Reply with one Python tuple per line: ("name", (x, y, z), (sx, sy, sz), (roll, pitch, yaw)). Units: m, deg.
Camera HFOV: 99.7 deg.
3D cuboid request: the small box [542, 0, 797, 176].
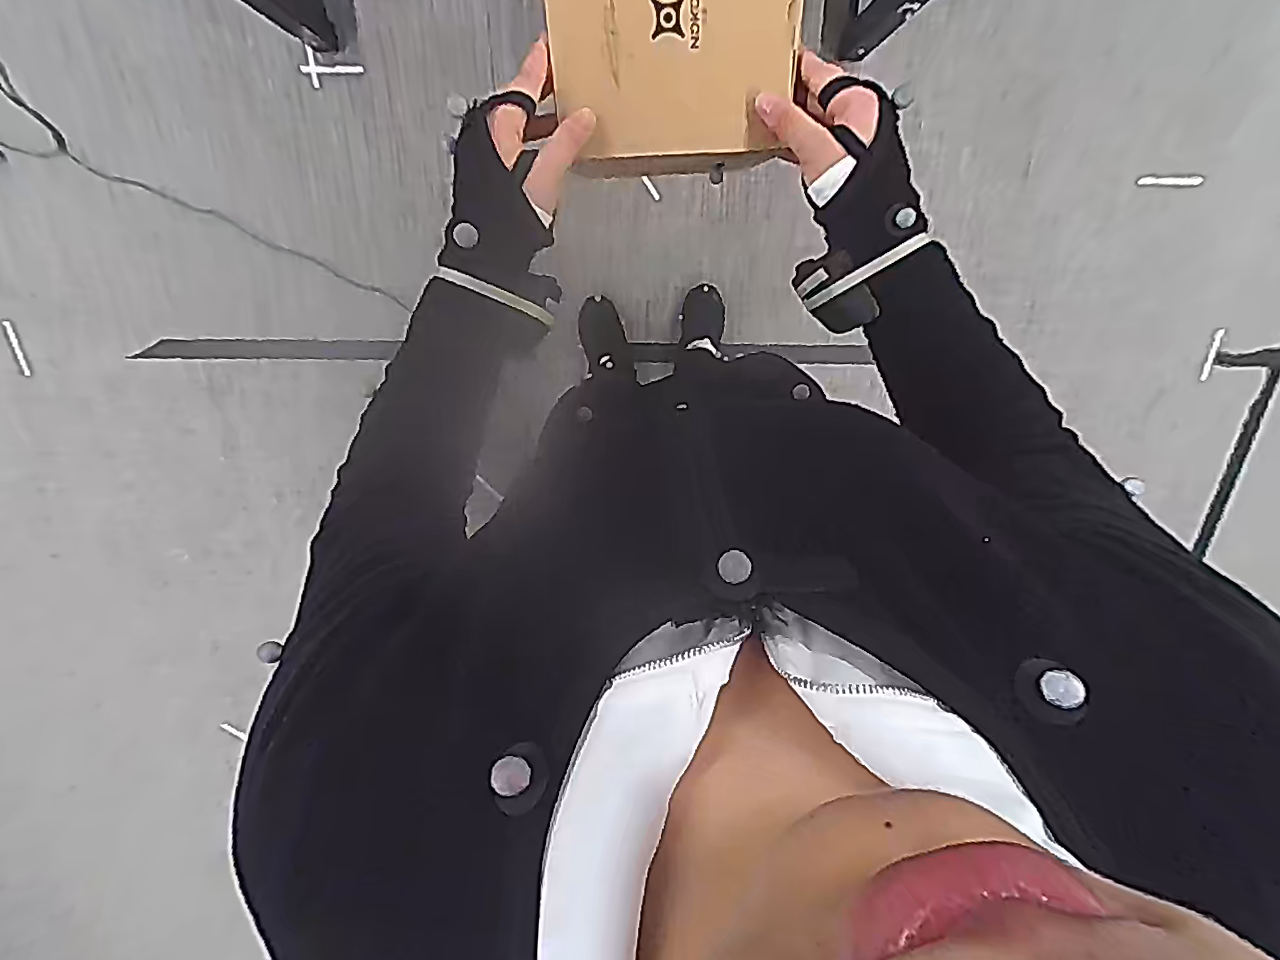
("small box", (0.018, -0.353, 0.440), (0.179, 0.176, 0.168), (-4, 114, 0))
